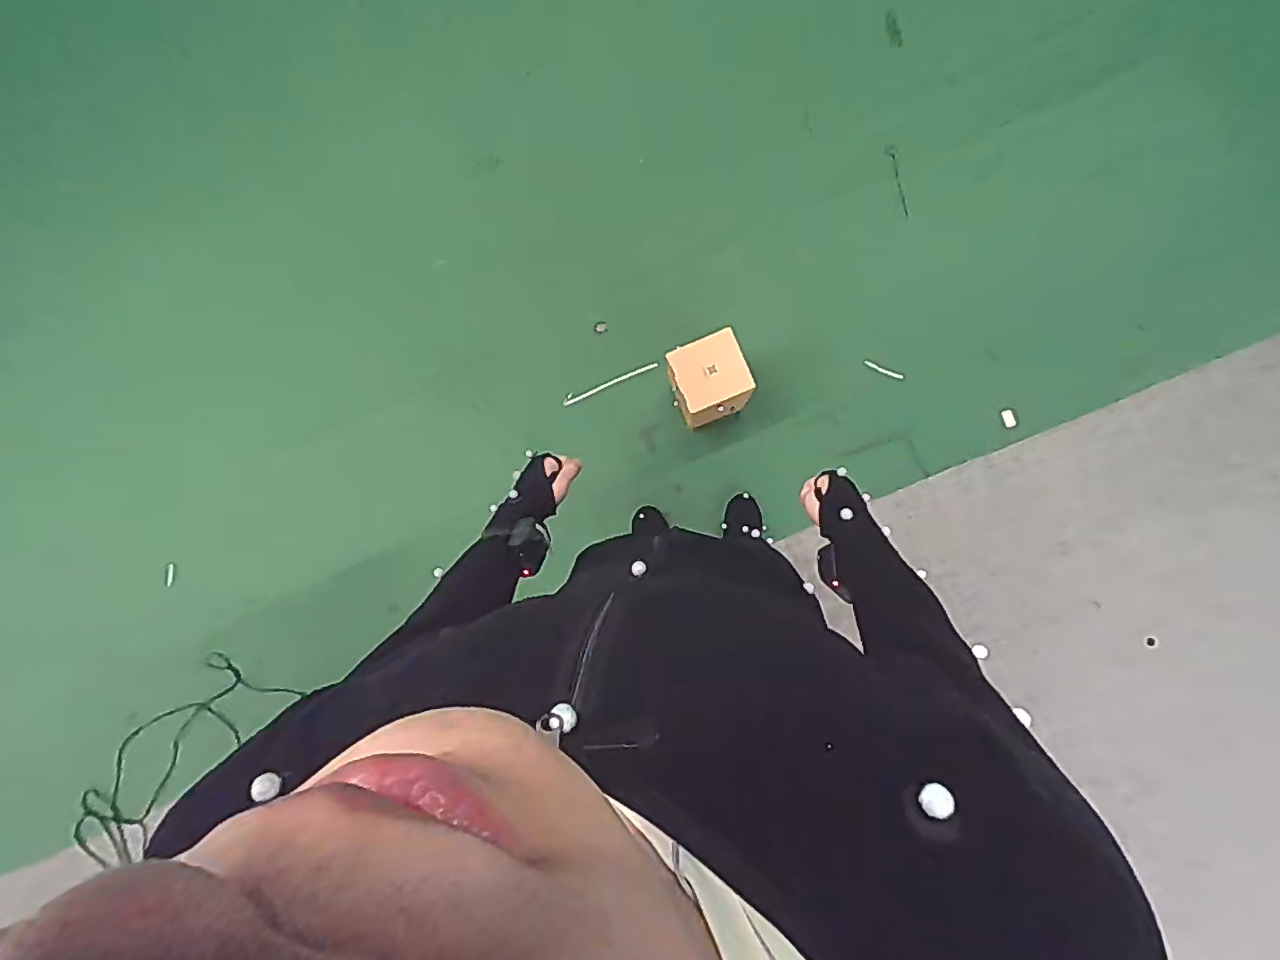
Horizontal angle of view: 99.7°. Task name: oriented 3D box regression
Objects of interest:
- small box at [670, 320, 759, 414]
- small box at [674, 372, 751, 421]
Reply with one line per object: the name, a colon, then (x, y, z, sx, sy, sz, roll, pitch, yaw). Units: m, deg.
small box: (0.187, -0.284, 1.398, 0.179, 0.176, 0.168, -23, 87, 5)
small box: (0.201, -0.283, 1.559, 0.179, 0.176, 0.168, -22, 87, 4)
